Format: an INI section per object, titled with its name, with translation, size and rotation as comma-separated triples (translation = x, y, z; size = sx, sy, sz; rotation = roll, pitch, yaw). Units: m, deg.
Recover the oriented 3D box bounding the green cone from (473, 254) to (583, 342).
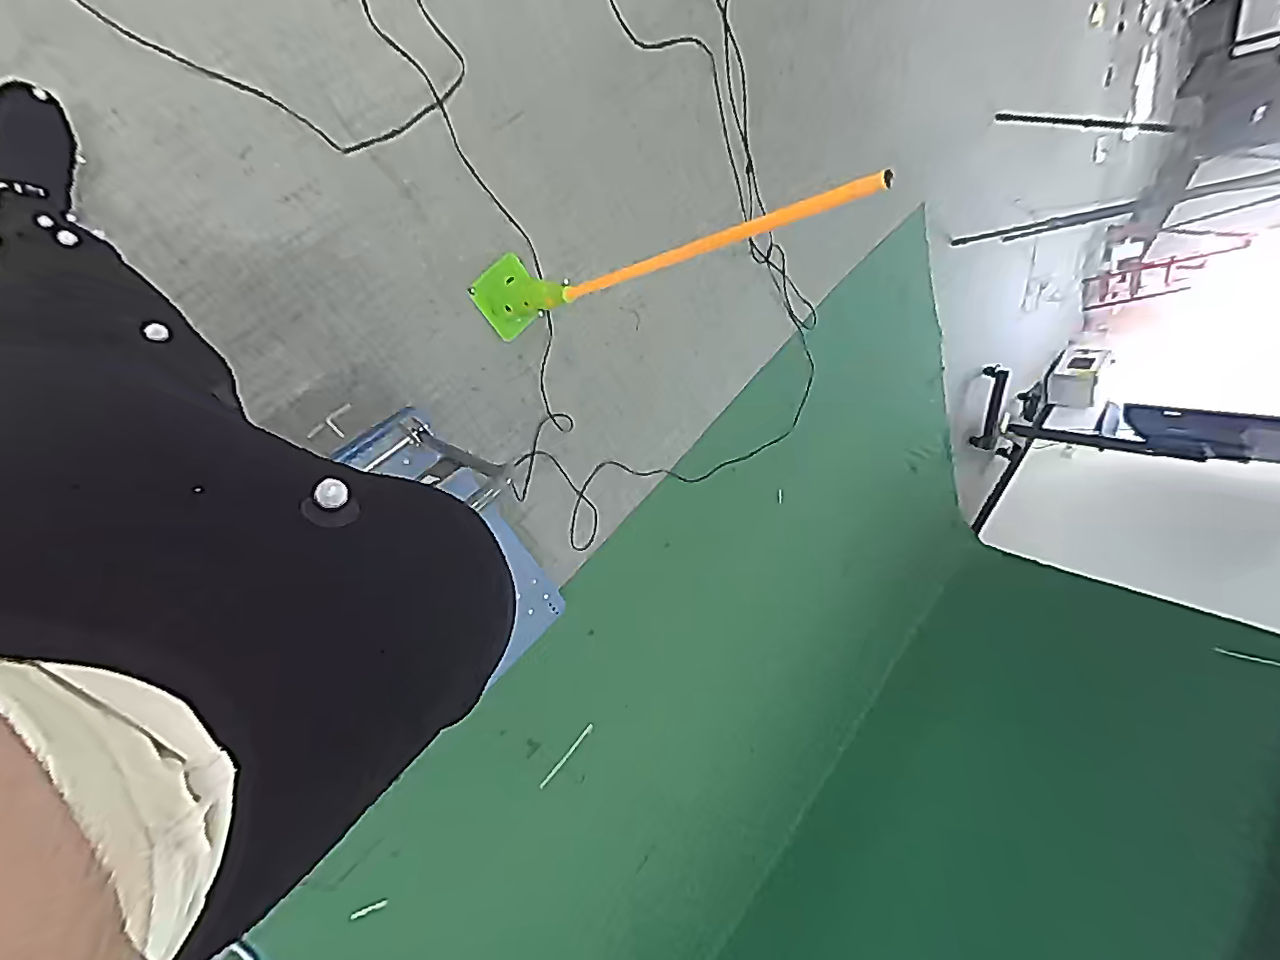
[green cone]
translation = -0.280, -0.517, 1.532
size = 0.202, 0.368, 0.200
rotation = -51, 130, -17
